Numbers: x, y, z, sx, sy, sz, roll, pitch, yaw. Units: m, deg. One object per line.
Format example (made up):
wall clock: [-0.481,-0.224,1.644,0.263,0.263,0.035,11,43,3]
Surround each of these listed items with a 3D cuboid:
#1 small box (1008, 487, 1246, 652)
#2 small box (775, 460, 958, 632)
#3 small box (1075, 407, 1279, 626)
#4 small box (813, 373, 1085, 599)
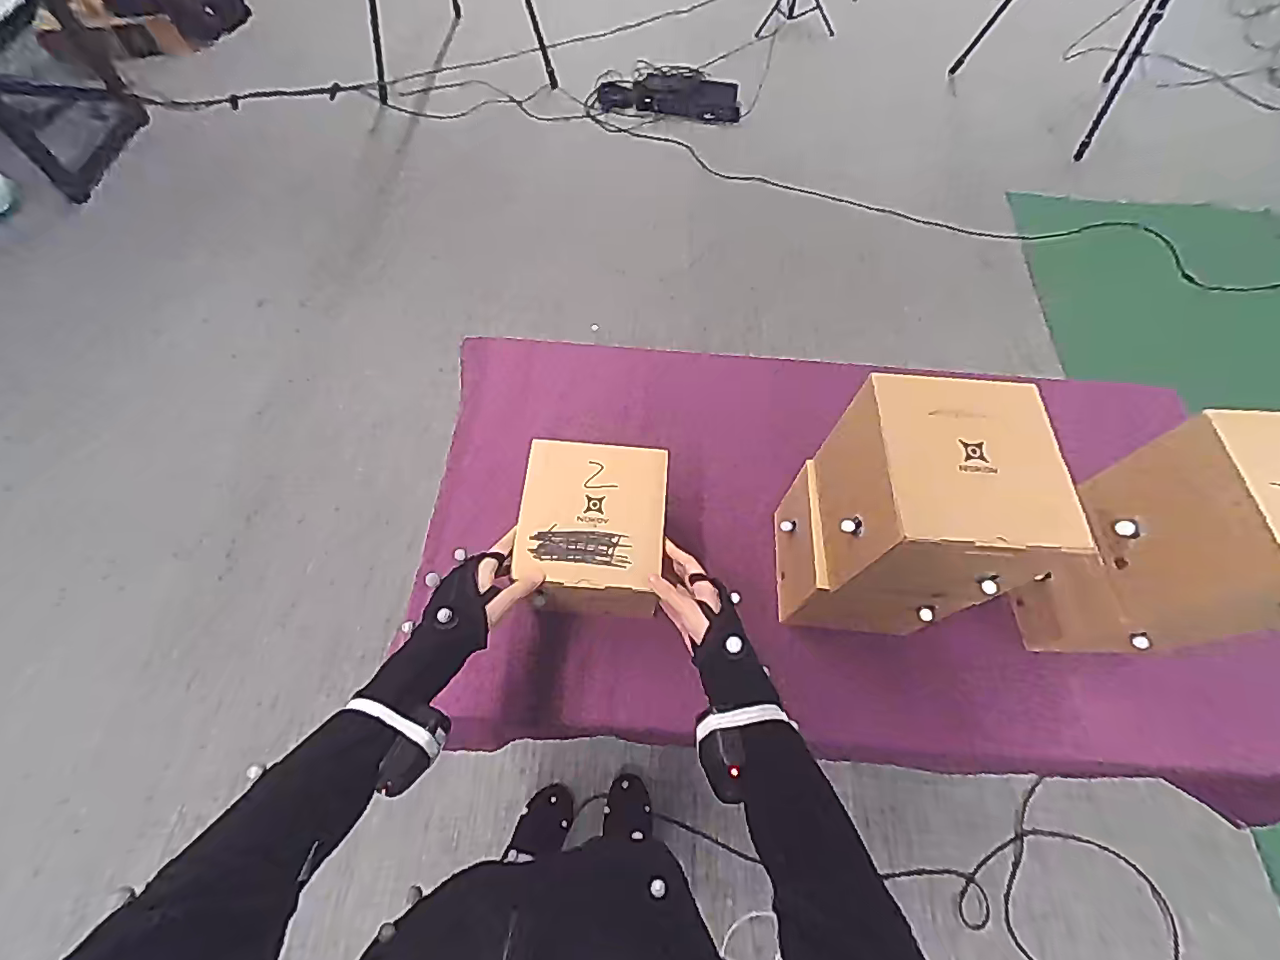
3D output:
small box: [0.604,0.121,0.696,0.179,0.176,0.168,2,62,-1]
small box: [0.279,0.092,0.702,0.179,0.176,0.168,5,61,0]
small box: [0.609,0.045,0.550,0.179,0.176,0.168,3,61,0]
small box: [0.292,0.015,0.559,0.168,0.176,0.179,4,61,-2]
